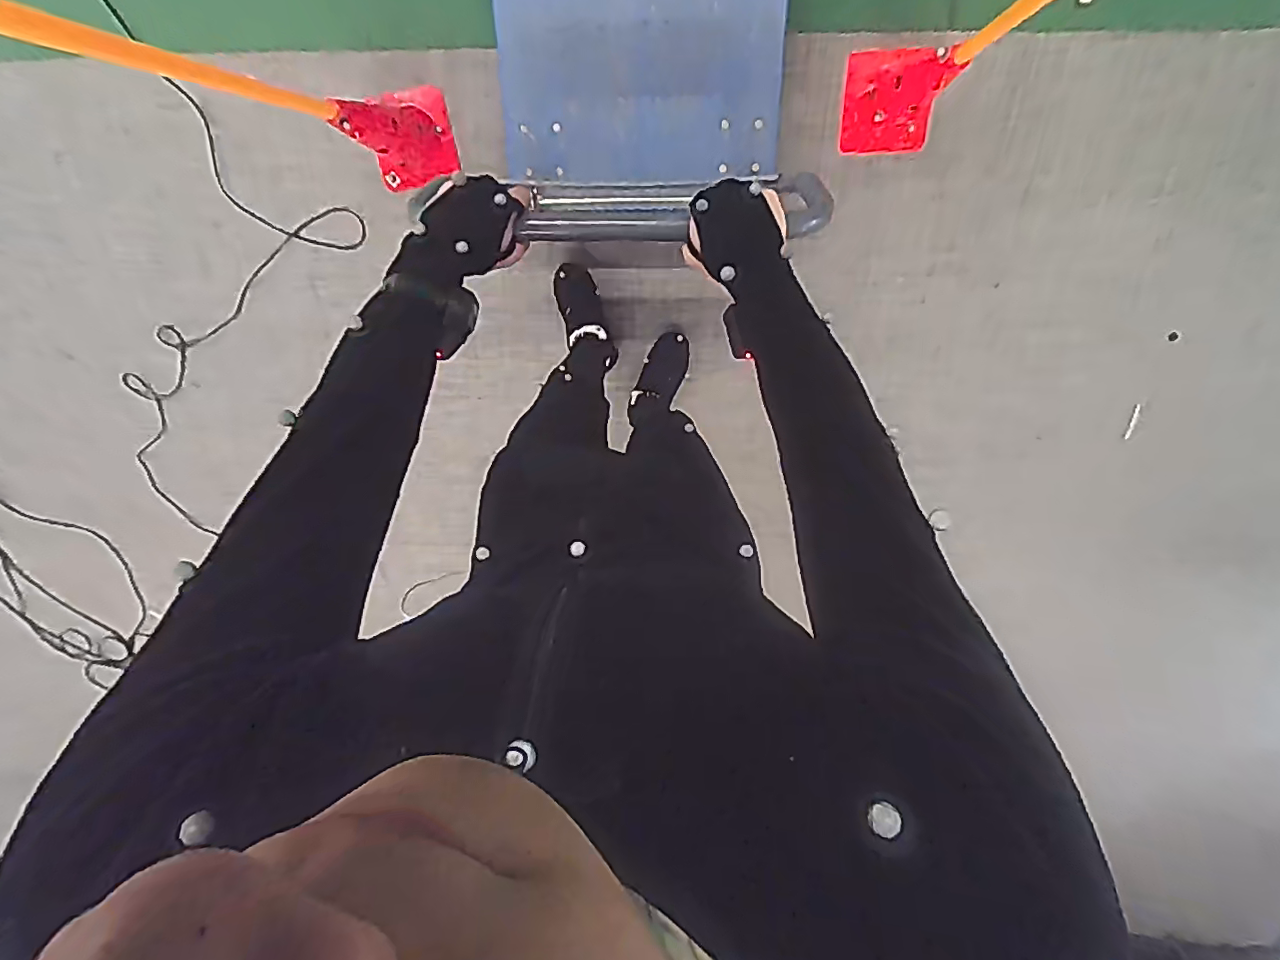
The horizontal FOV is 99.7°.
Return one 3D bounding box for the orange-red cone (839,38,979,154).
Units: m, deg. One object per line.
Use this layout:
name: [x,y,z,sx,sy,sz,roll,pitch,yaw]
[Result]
orange-red cone: [0.547,-0.783,1.055,0.198,0.360,0.199,1,113,2]
